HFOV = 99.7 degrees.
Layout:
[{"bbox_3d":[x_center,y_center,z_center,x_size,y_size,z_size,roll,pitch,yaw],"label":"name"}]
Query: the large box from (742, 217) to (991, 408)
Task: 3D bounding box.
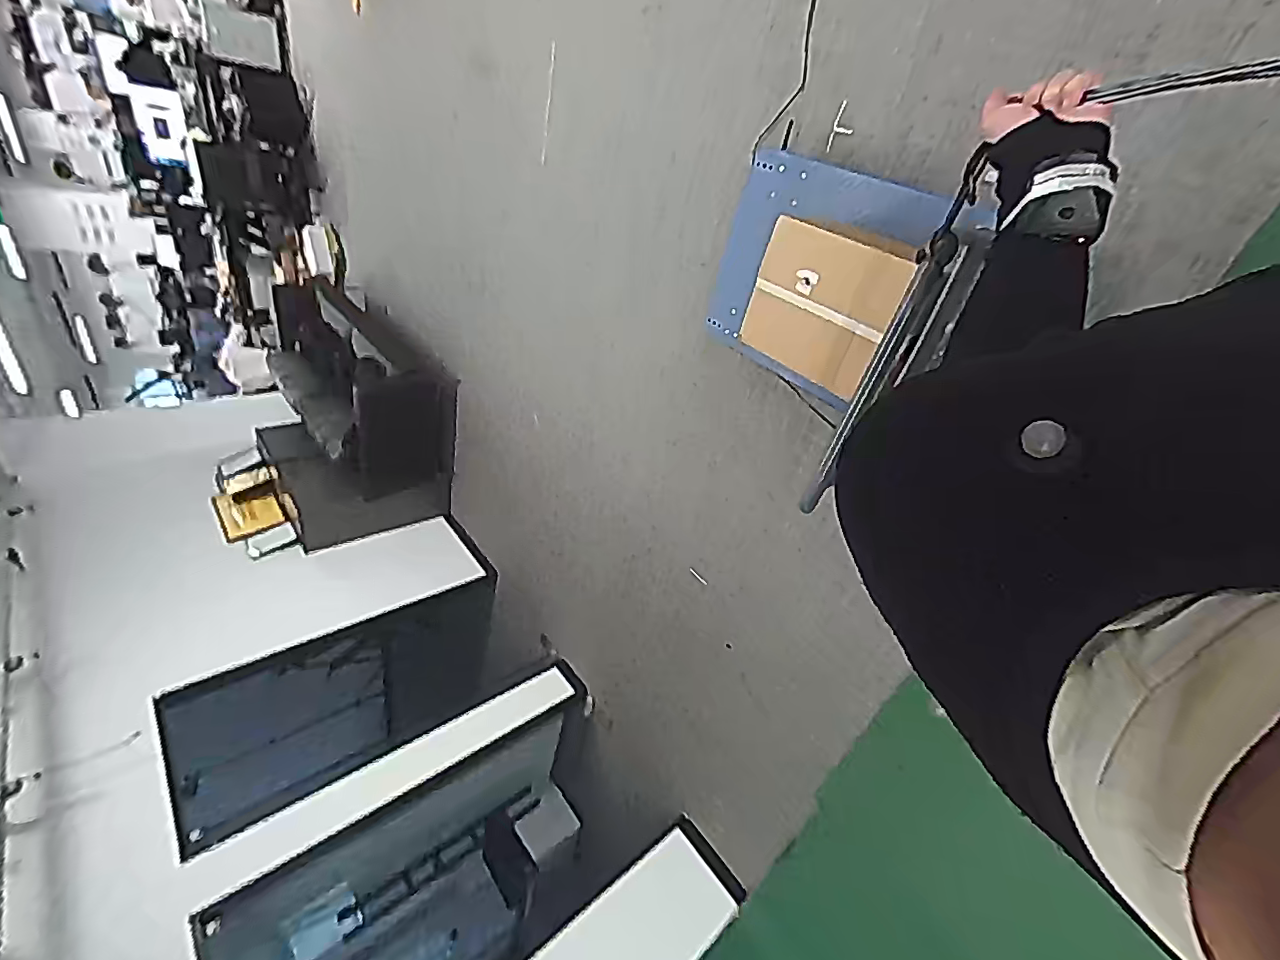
[{"bbox_3d":[0.534,-0.417,1.319,0.408,0.320,0.320,42,131,34],"label":"large box"}]
